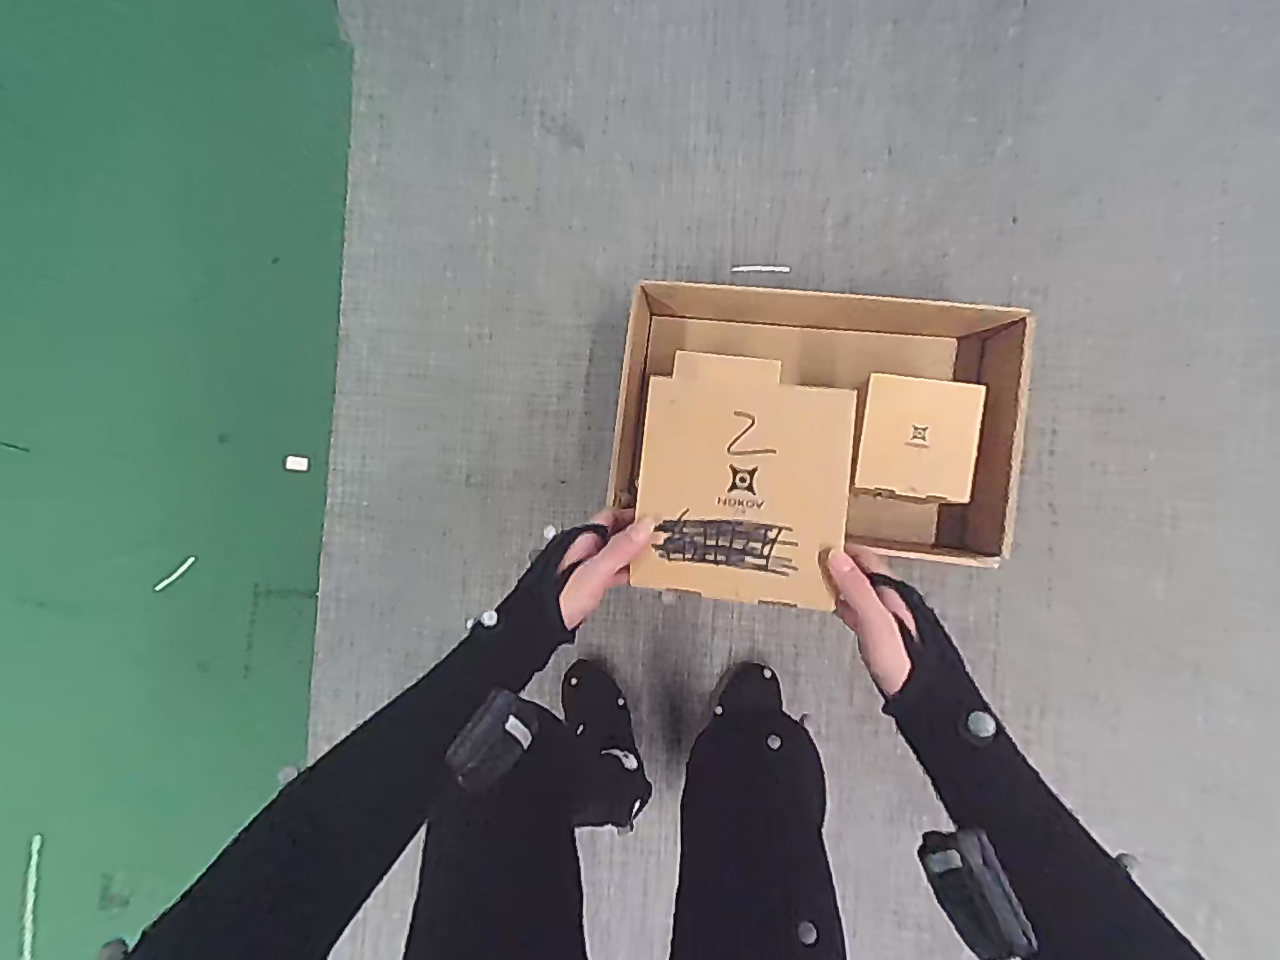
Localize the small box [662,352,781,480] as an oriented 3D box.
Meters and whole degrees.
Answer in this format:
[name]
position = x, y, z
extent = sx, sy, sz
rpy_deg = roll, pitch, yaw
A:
[small box]
position = 0.133, -0.099, 0.910
extent = 0.168, 0.176, 0.179
rpy_deg = 7, 88, 7
